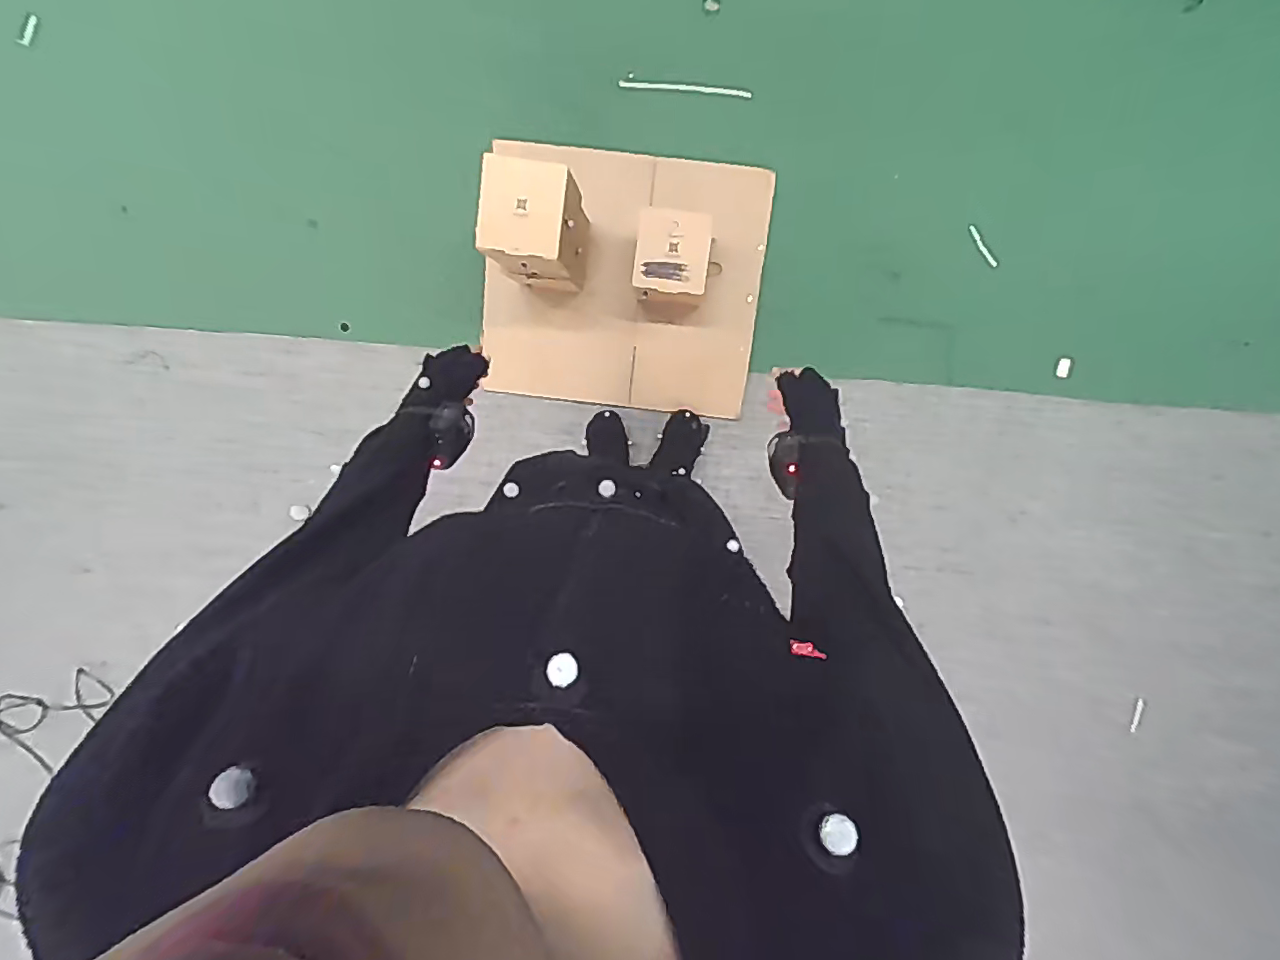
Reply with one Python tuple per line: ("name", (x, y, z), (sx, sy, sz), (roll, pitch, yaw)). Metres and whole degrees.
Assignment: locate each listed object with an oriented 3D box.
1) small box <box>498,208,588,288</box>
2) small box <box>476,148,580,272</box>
("small box", (-0.222, -0.562, 1.273), (0.168, 0.176, 0.179), (8, 100, 2))
("small box", (-0.223, -0.543, 1.111), (0.168, 0.176, 0.179), (9, 101, 1))
